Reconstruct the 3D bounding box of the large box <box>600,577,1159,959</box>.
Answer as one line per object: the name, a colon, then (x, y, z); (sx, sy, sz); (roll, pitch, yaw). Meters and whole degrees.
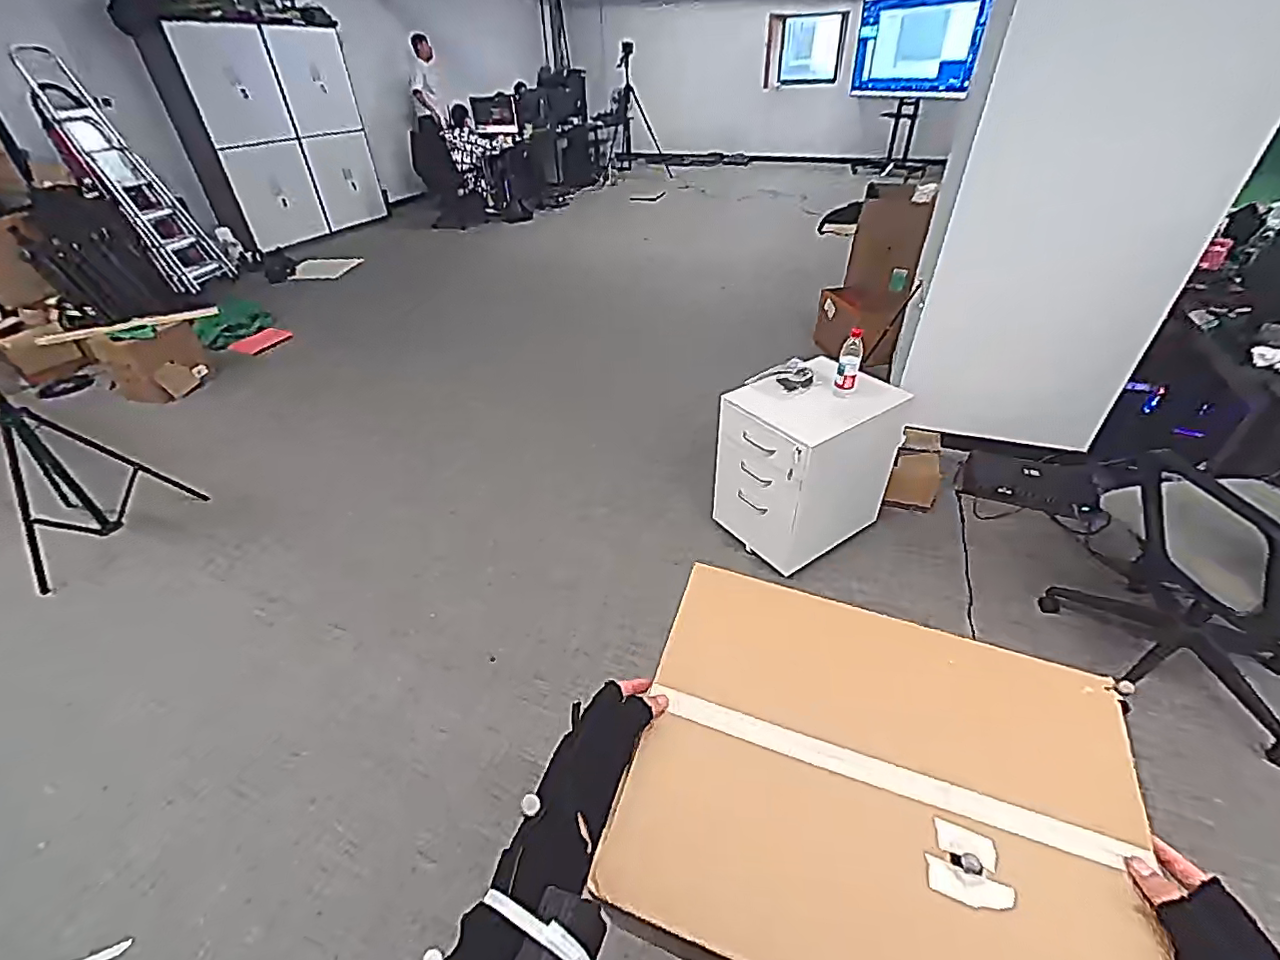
large box: (0.201, 0.358, 0.576); (0.408, 0.320, 0.320); (15, 50, 14)
